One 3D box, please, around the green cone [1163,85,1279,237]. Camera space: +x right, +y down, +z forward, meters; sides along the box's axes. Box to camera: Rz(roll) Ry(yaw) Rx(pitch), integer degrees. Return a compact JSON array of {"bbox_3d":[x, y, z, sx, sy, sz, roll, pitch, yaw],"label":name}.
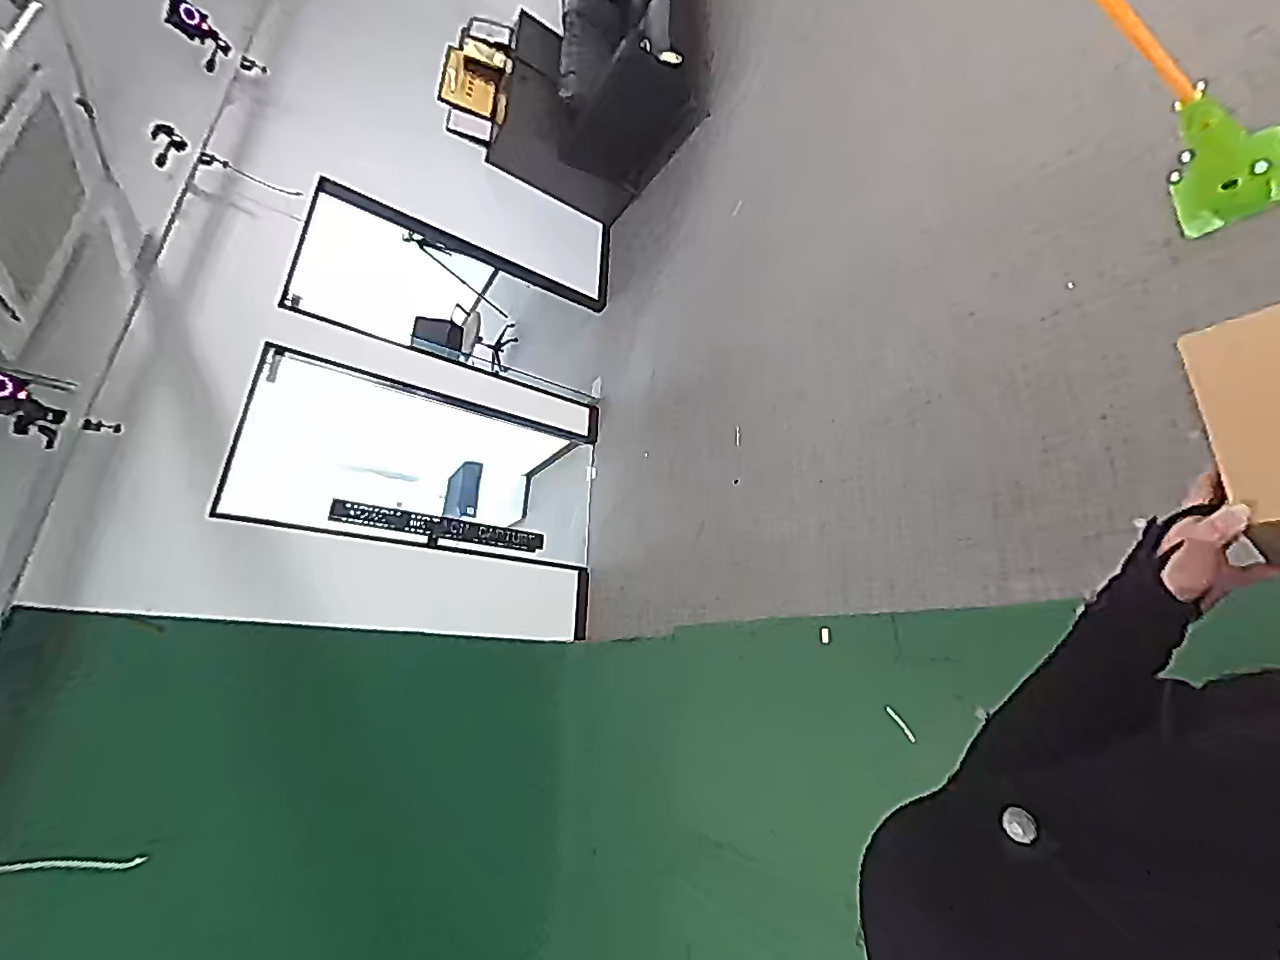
[{"bbox_3d":[1.269,-0.747,1.206,0.202,0.368,0.200,-23,59,51],"label":"green cone"}]
